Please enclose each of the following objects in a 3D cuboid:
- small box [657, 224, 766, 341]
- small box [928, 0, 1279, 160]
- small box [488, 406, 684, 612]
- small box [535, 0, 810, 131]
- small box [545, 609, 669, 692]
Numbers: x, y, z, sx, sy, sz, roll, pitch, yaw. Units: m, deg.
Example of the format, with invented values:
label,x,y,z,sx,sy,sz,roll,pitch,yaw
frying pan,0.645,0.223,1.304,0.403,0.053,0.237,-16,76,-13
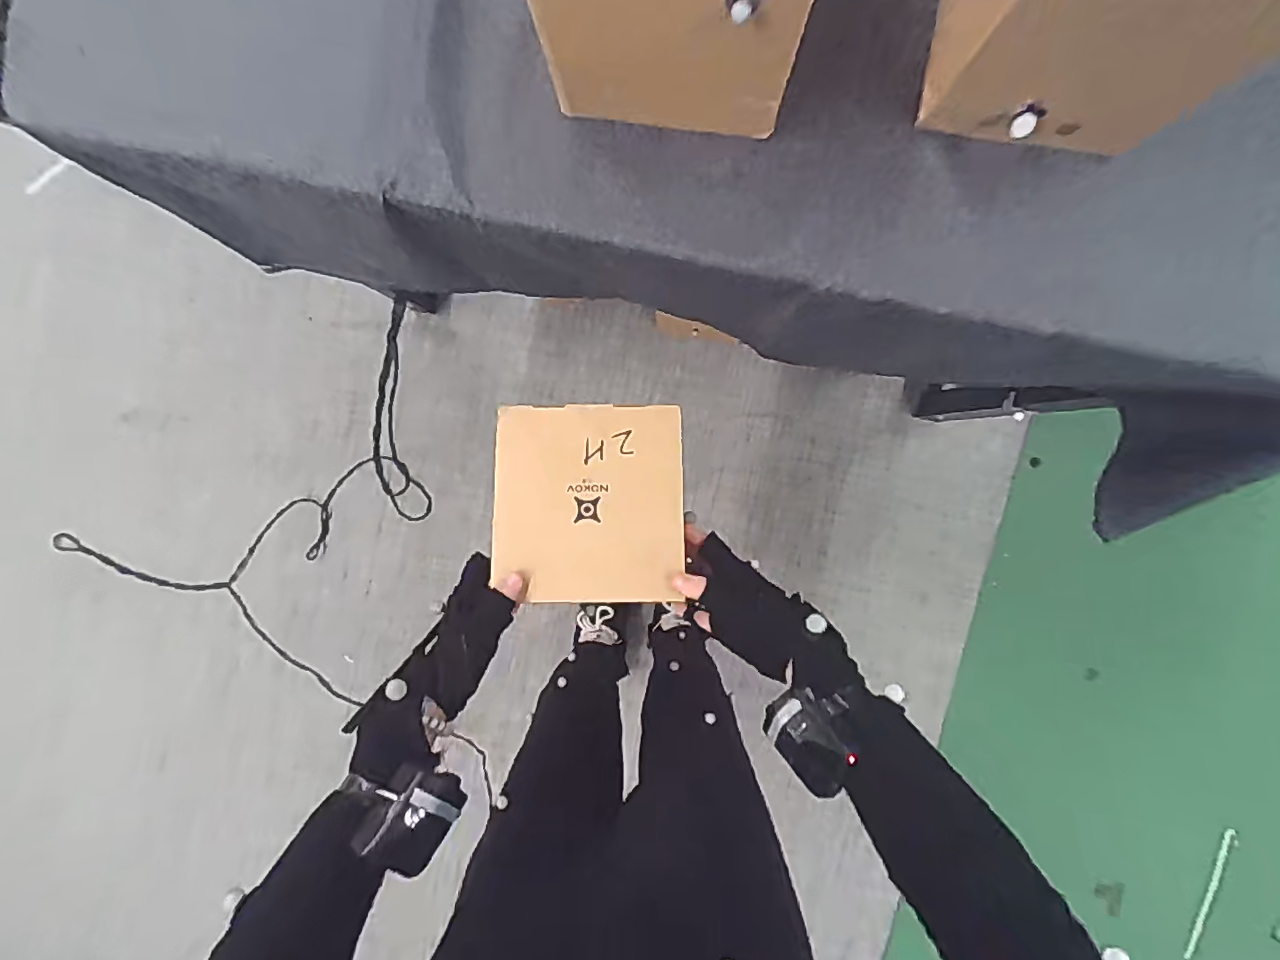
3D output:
label,x,y,z,sx,sy,sz,roll,pitch,yaw
small box,0.135,-0.379,1.066,0.179,0.176,0.168,10,95,3
small box,0.307,-0.338,0.332,0.168,0.176,0.179,10,95,3
small box,-0.046,0.033,0.541,0.168,0.176,0.179,1,82,-2
small box,0.025,-0.358,0.347,0.179,0.176,0.168,7,94,2
small box,-0.075,0.314,1.141,0.168,0.176,0.179,-48,67,12
